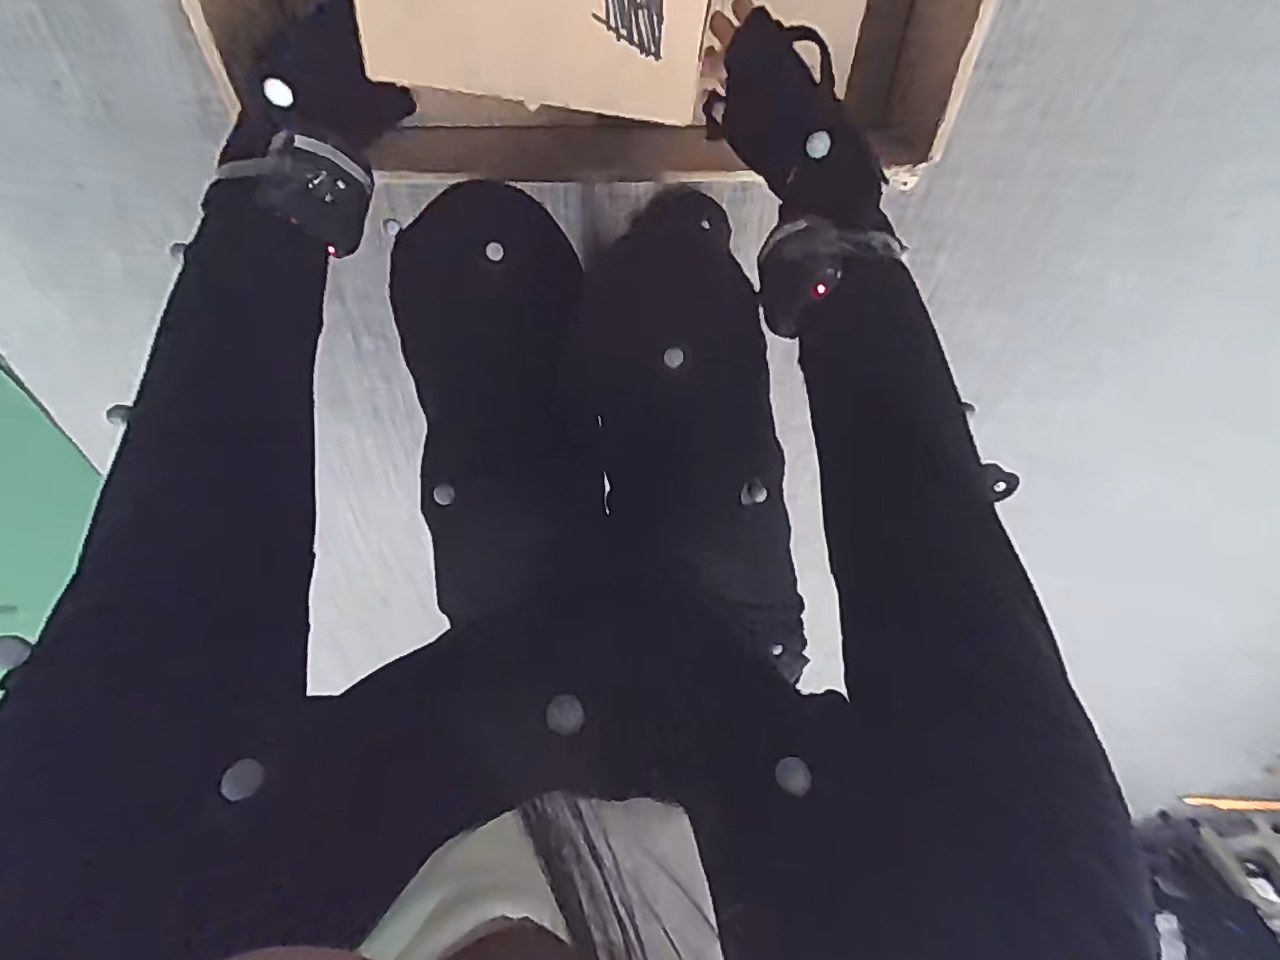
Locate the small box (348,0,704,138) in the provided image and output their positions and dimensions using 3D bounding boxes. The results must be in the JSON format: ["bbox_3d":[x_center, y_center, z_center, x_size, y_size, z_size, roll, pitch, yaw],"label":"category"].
[{"bbox_3d":[-0.053,-0.317,0.302,0.179,0.176,0.168,6,132,-8],"label":"small box"}]
